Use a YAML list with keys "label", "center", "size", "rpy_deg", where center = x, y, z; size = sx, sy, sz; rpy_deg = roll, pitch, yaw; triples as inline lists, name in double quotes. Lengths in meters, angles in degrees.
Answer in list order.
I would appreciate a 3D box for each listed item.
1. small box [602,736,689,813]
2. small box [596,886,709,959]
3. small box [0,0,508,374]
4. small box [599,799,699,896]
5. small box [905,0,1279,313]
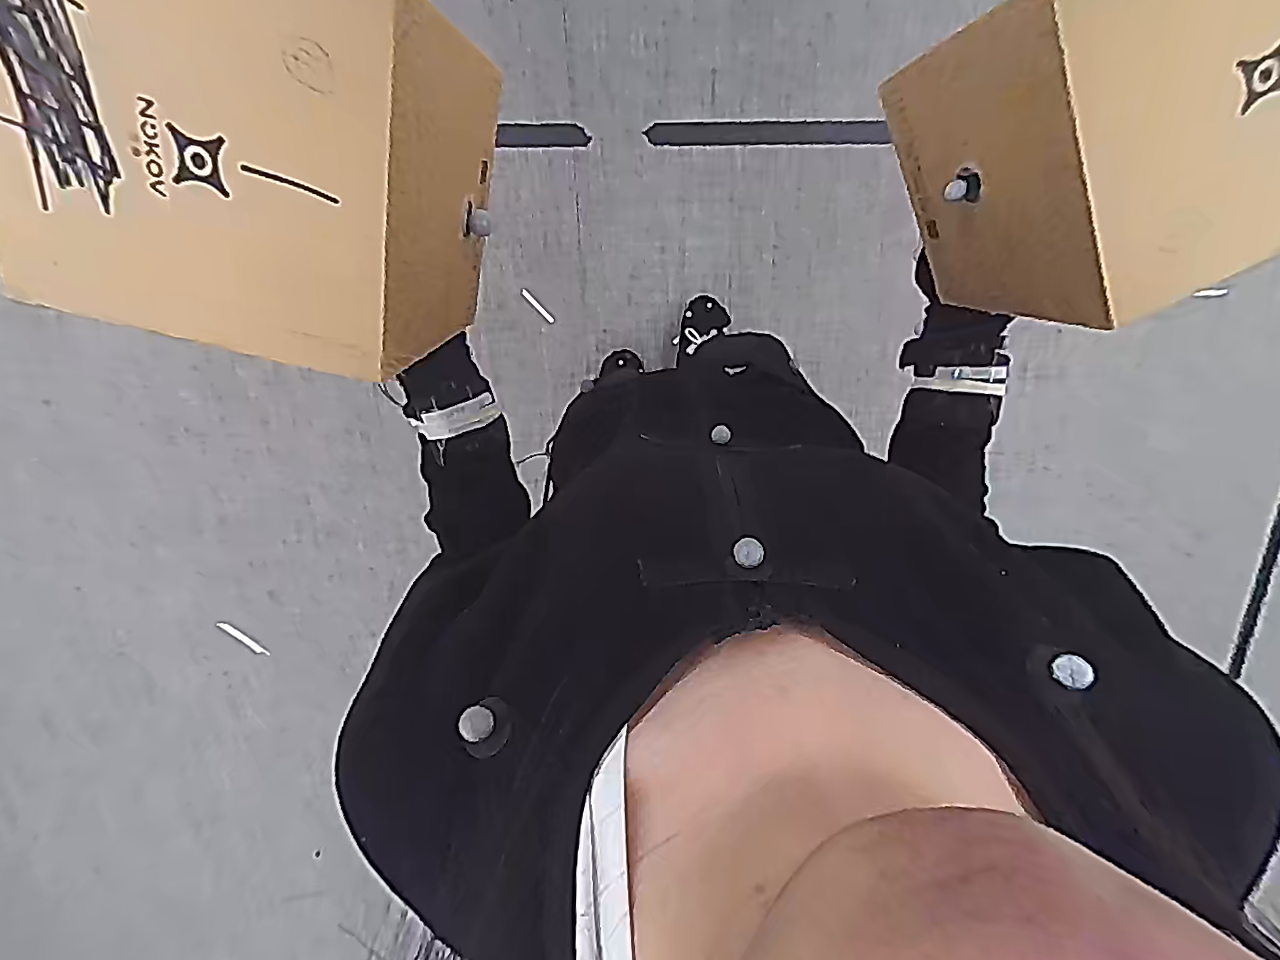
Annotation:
- label: "small box"
  center: [0.006, 0.669, 1.141]
  size: [0.168, 0.176, 0.179]
  rpy_deg: [2, 105, -3]
- label: "small box"
  center: [0.016, 0.762, 0.830]
  size: [0.168, 0.176, 0.179]
  rpy_deg: [0, 108, -1]
- label: "small box"
  center: [-0.186, -0.176, 0.297]
  size: [0.179, 0.176, 0.168]
  rpy_deg: [12, 117, -6]
- label: "small box"
  center: [0.009, 0.711, 0.984]
  size: [0.168, 0.176, 0.179]
  rpy_deg: [0, 107, -3]
- label: "small box"
  center: [0.282, -0.217, 0.312]
  size: [0.179, 0.176, 0.168]
  rpy_deg: [-26, 111, 9]
